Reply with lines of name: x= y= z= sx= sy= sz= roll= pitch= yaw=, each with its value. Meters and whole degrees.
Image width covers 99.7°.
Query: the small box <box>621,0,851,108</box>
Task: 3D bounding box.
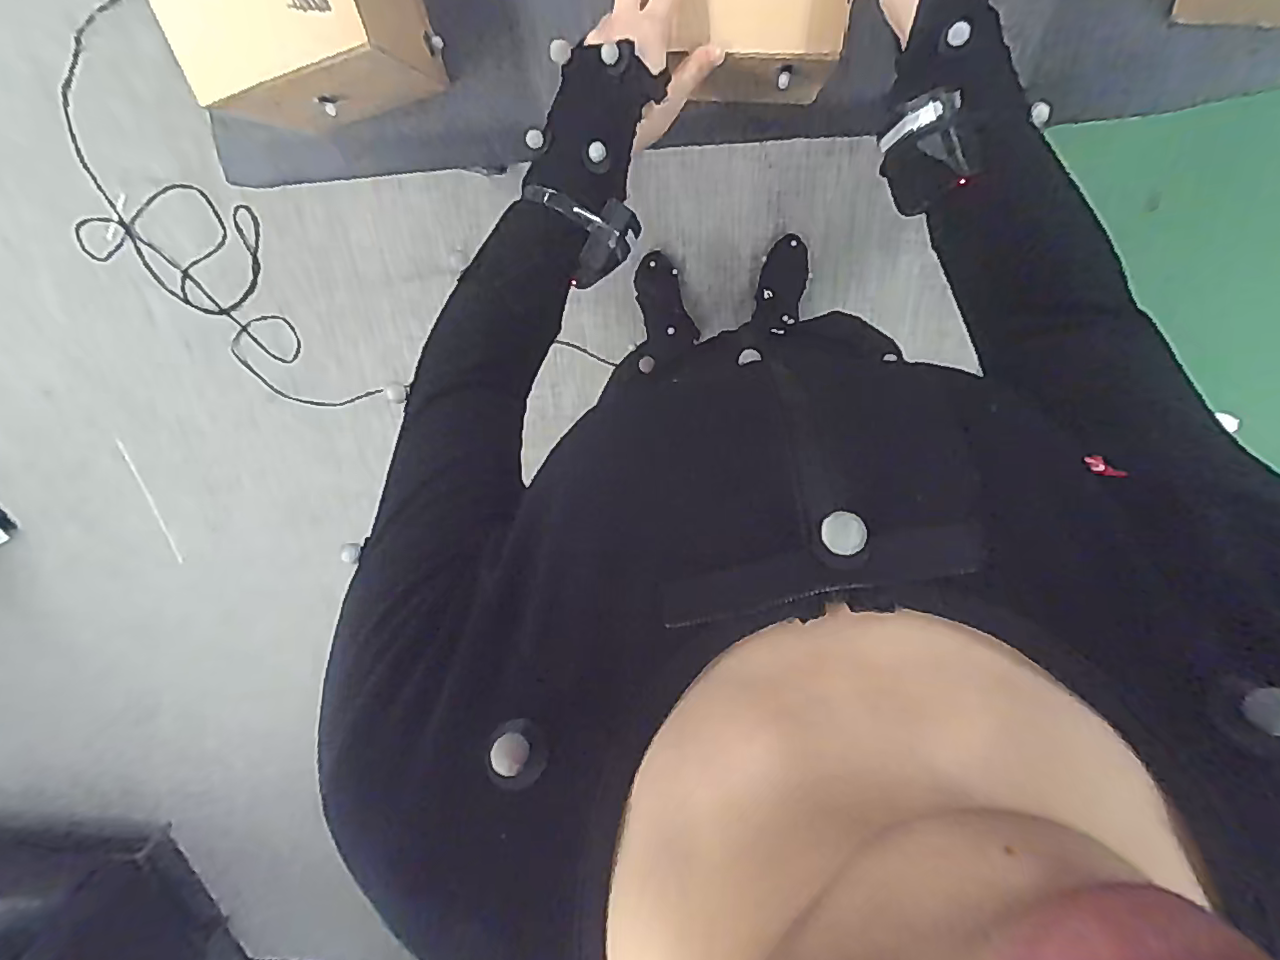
small box: x=0.086 y=-0.437 z=0.467 sx=0.179 sy=0.176 sz=0.168 roll=5 pitch=115 yaw=6

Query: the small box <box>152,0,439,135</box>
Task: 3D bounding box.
small box: x=-0.313 y=-0.446 z=0.505 sx=0.179 sy=0.176 sz=0.168 roll=-10 pitch=114 yaw=11
